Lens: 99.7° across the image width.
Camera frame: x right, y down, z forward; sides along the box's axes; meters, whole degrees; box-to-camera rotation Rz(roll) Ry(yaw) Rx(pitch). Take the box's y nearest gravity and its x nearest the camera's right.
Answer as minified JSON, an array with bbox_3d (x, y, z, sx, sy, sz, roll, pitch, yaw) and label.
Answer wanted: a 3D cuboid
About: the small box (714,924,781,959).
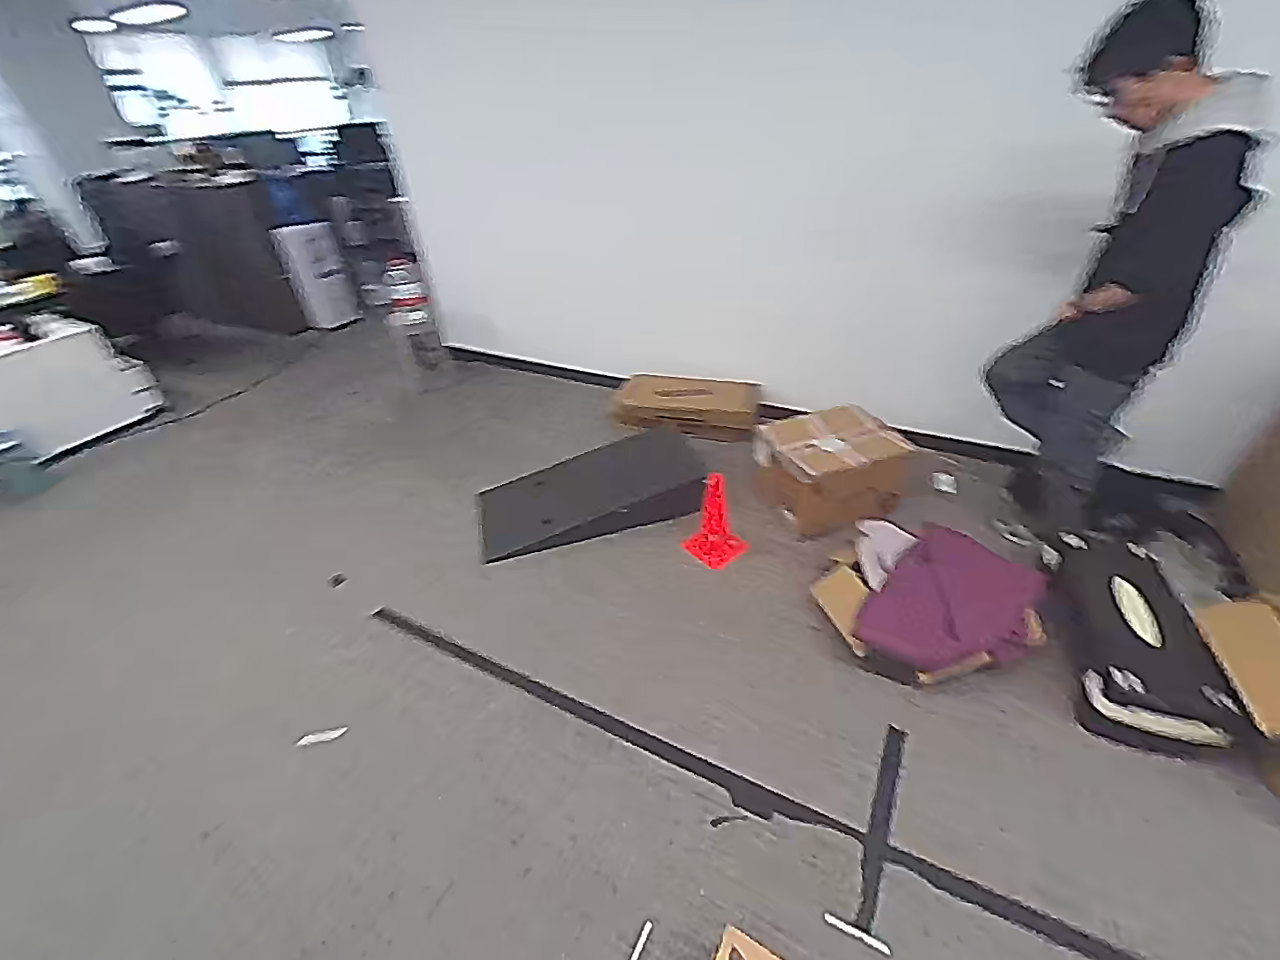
[{"bbox_3d":[0.213,1.024,1.044,0.179,0.176,0.168,19,42,27],"label":"small box"}]
